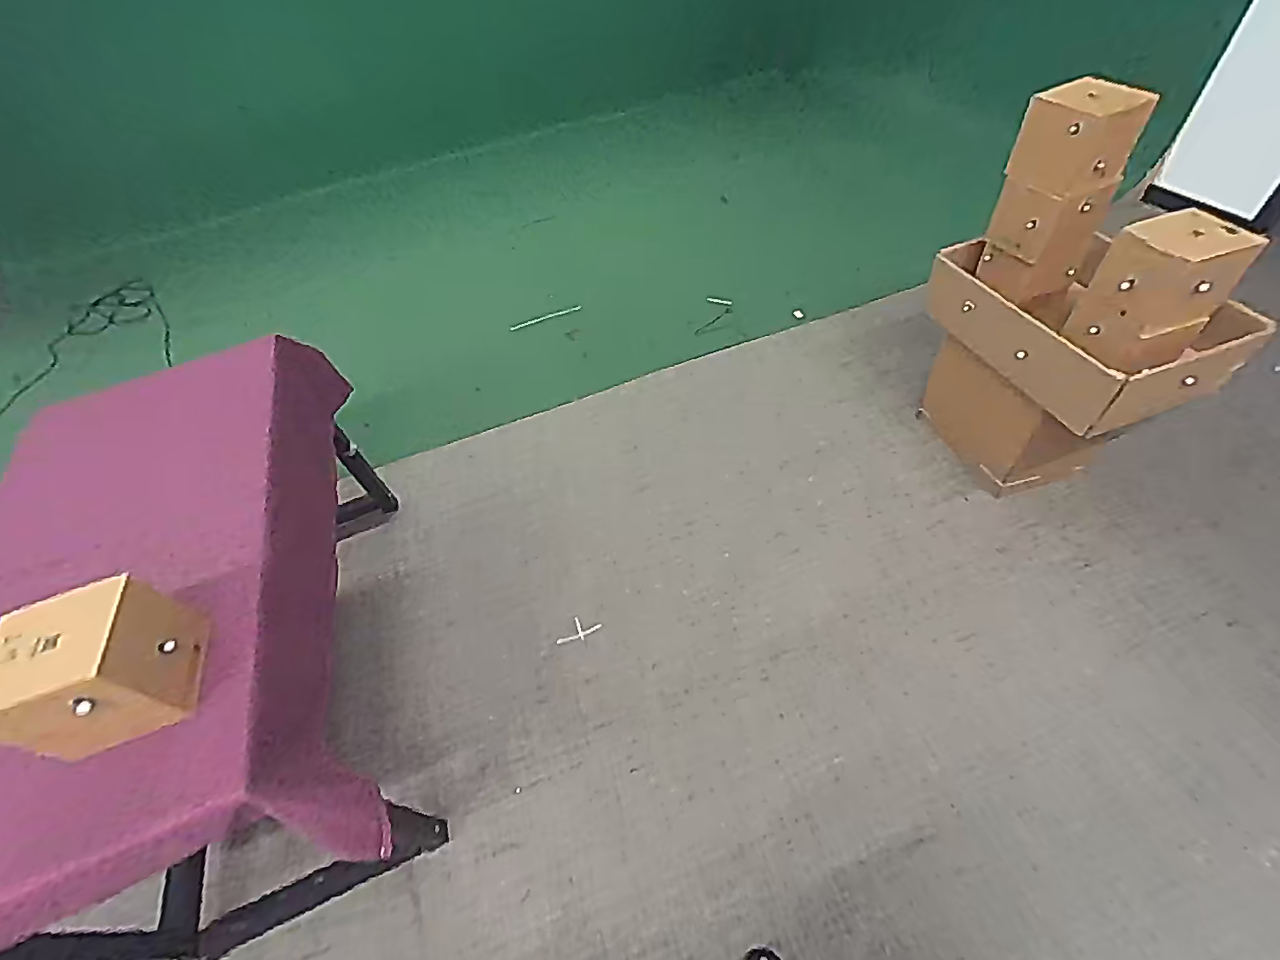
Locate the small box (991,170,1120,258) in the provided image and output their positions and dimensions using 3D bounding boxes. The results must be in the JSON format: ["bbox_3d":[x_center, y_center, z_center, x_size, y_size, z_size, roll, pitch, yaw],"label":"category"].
[{"bbox_3d":[1.022,-0.685,1.354,0.179,0.176,0.168,-22,51,-8],"label":"small box"}]

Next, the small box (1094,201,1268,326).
[{"bbox_3d":[1.121,-0.454,1.147,0.179,0.176,0.168,-18,51,-3],"label":"small box"}]

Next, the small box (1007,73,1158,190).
[{"bbox_3d":[0.995,-0.796,1.238,0.168,0.176,0.179,-23,52,-9],"label":"small box"}]

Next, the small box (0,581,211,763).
[{"bbox_3d":[-0.775,0.281,0.783,0.179,0.176,0.168,-21,50,-6],"label":"small box"}]
